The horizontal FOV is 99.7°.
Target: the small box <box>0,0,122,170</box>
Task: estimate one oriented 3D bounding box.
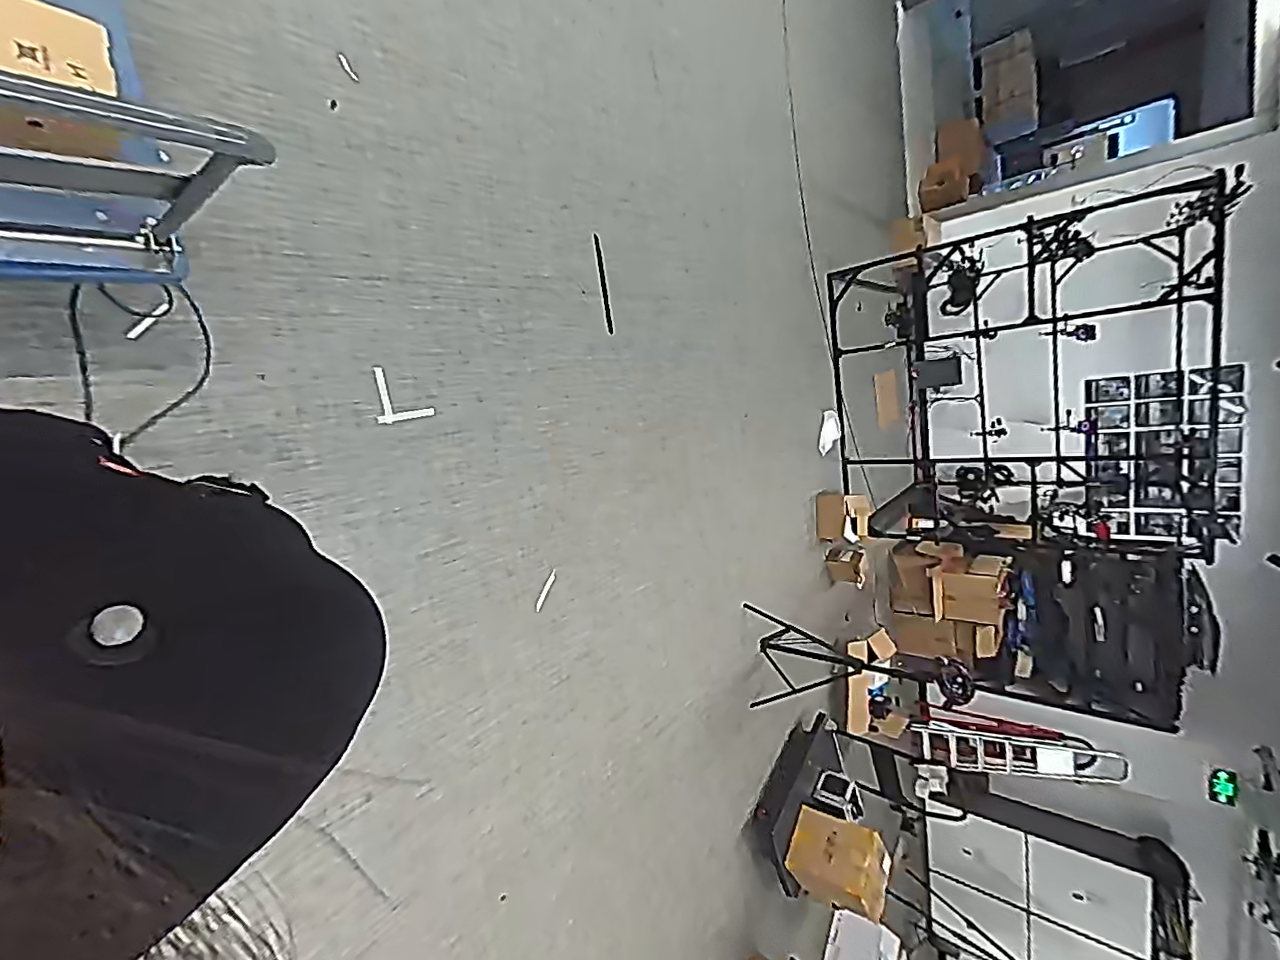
[{"bbox_3d":[-0.963,-0.624,0.859,0.179,0.176,0.168,-11,99,-49],"label":"small box"}]
